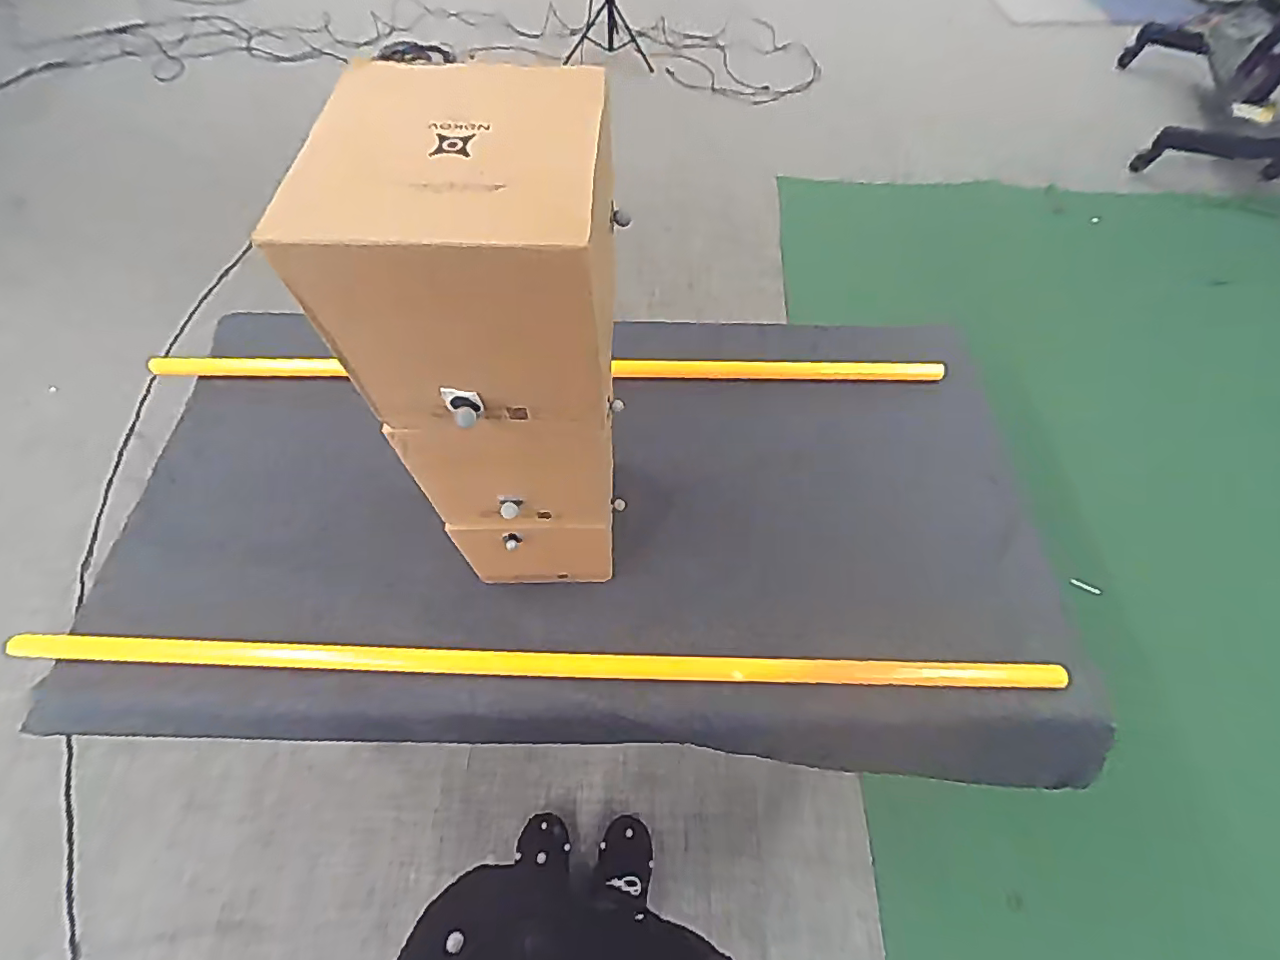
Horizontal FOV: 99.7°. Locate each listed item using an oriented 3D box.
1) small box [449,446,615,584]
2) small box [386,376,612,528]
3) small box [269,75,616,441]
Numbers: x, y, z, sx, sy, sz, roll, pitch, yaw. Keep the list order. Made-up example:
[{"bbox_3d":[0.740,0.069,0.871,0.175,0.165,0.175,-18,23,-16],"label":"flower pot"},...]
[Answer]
[{"bbox_3d":[-0.117,0.016,0.663,0.168,0.176,0.179,-1,60,-1],"label":"small box"},{"bbox_3d":[-0.113,-0.069,0.522,0.168,0.176,0.179,1,61,0],"label":"small box"},{"bbox_3d":[-0.105,-0.146,0.380,0.168,0.176,0.179,0,61,1],"label":"small box"}]
